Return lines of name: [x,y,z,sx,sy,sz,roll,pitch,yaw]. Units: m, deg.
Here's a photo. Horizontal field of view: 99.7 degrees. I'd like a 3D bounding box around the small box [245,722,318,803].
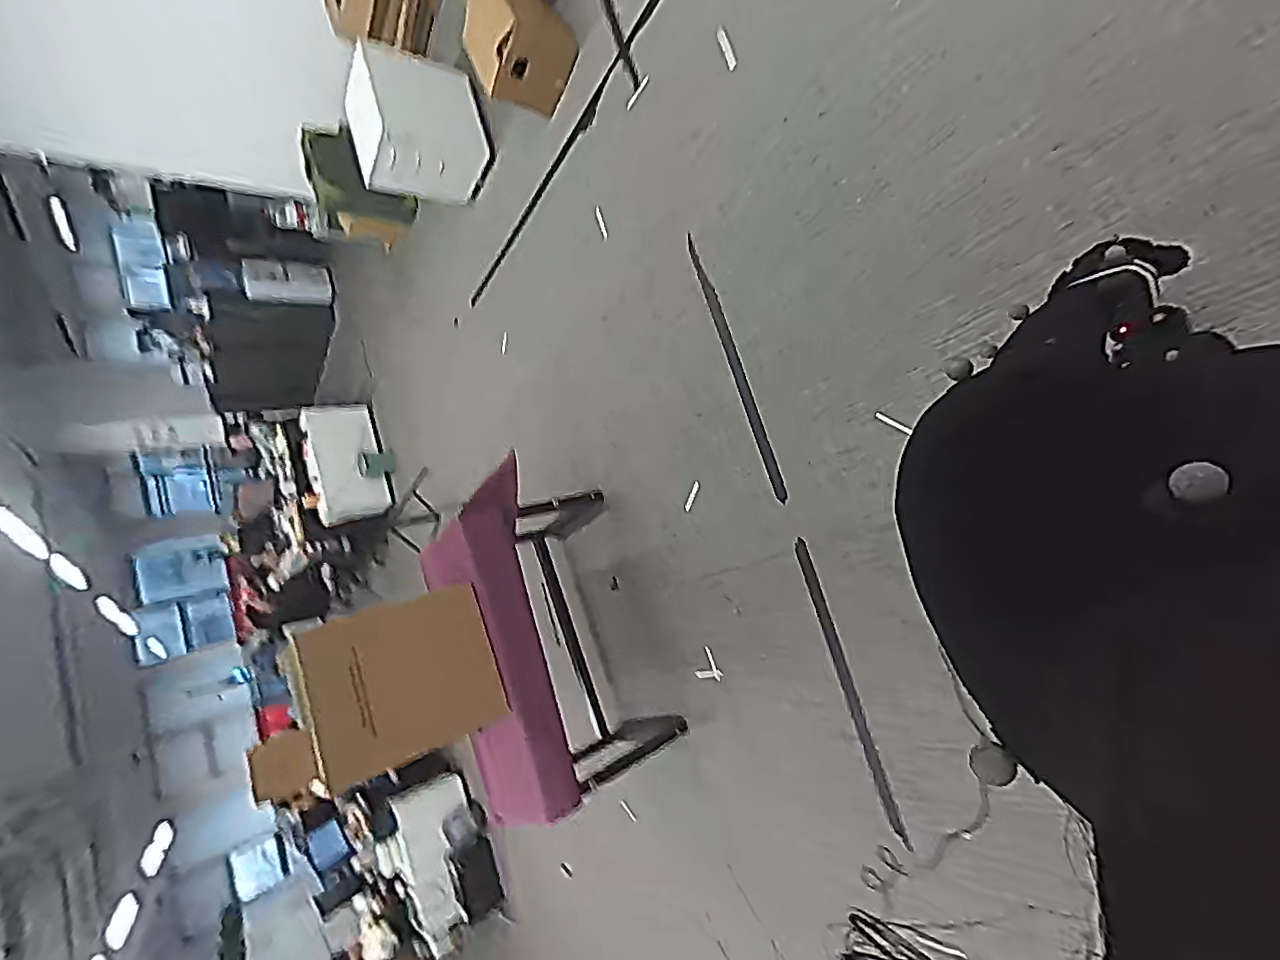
small box: [-1.159,0.907,1.749,0.168,0.176,0.179,-32,73,47]
